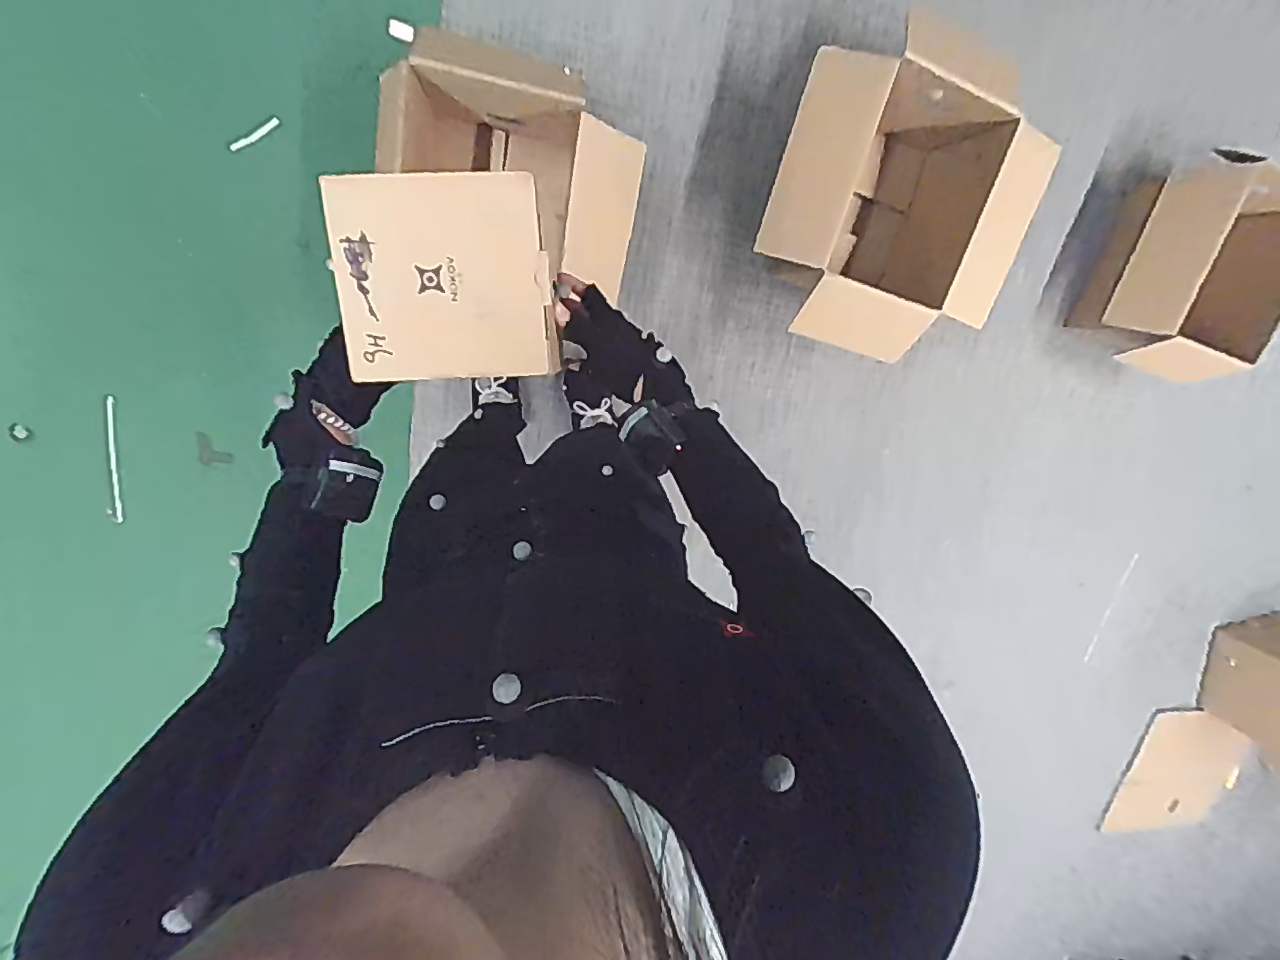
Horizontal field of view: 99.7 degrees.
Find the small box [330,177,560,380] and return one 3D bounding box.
[{"bbox_3d":[-0.173,-0.191,0.544,0.179,0.176,0.168,-2,104,-4],"label":"small box"}]
